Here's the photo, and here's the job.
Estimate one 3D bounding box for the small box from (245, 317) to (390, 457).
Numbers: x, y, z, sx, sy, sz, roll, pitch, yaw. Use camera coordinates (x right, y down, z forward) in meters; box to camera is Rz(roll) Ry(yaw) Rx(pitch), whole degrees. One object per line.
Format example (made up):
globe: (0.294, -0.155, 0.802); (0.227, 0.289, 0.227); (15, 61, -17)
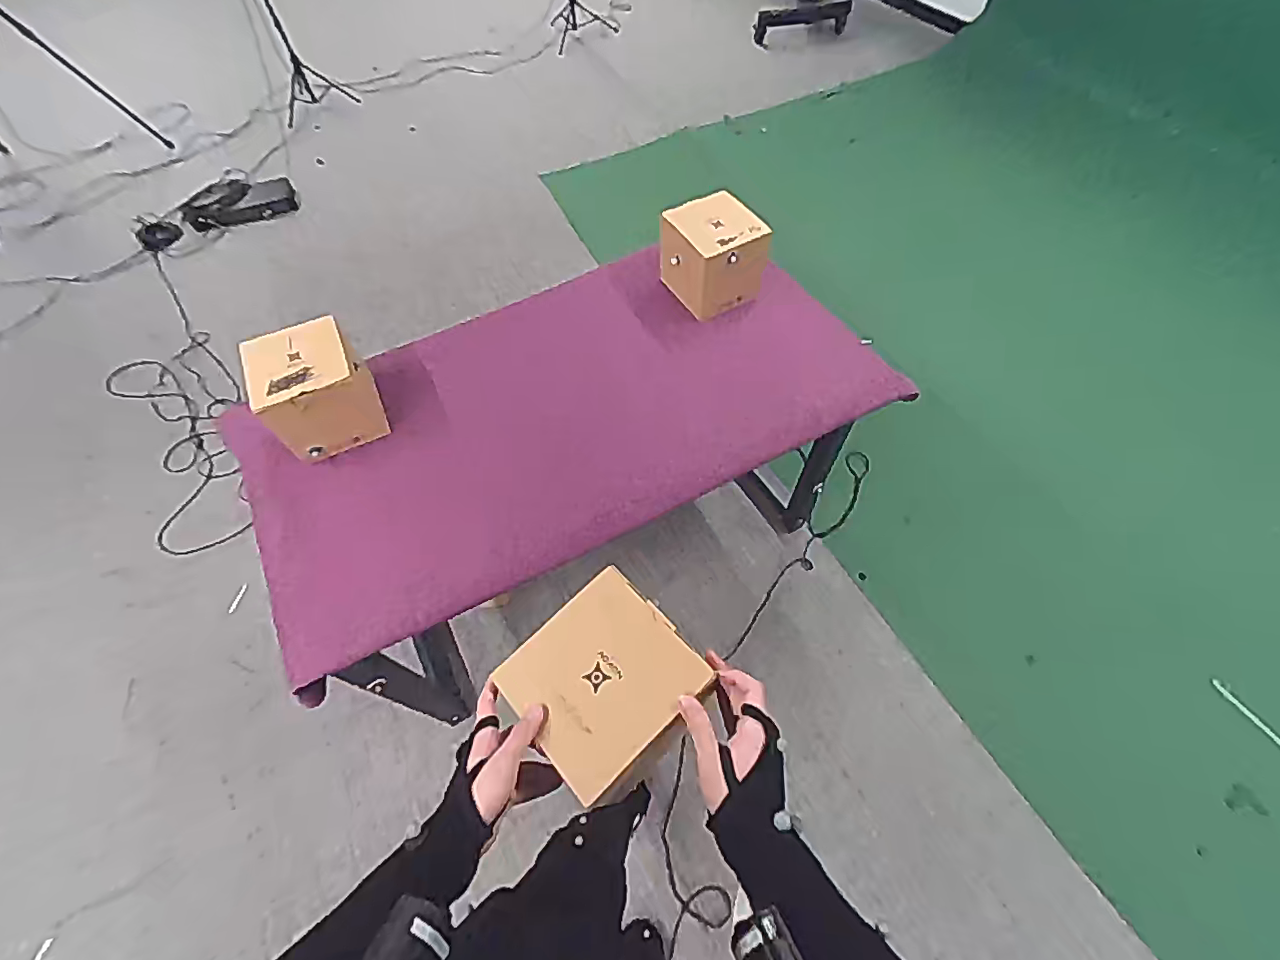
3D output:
small box: (-0.595, -0.165, 1.014); (0.168, 0.176, 0.179); (-23, 61, -13)

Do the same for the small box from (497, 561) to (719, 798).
small box: (-0.026, 0.230, 0.623); (0.179, 0.176, 0.168); (-42, 62, -13)

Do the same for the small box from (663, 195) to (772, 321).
small box: (0.162, -0.484, 1.189); (0.168, 0.176, 0.179); (-27, 61, -13)
